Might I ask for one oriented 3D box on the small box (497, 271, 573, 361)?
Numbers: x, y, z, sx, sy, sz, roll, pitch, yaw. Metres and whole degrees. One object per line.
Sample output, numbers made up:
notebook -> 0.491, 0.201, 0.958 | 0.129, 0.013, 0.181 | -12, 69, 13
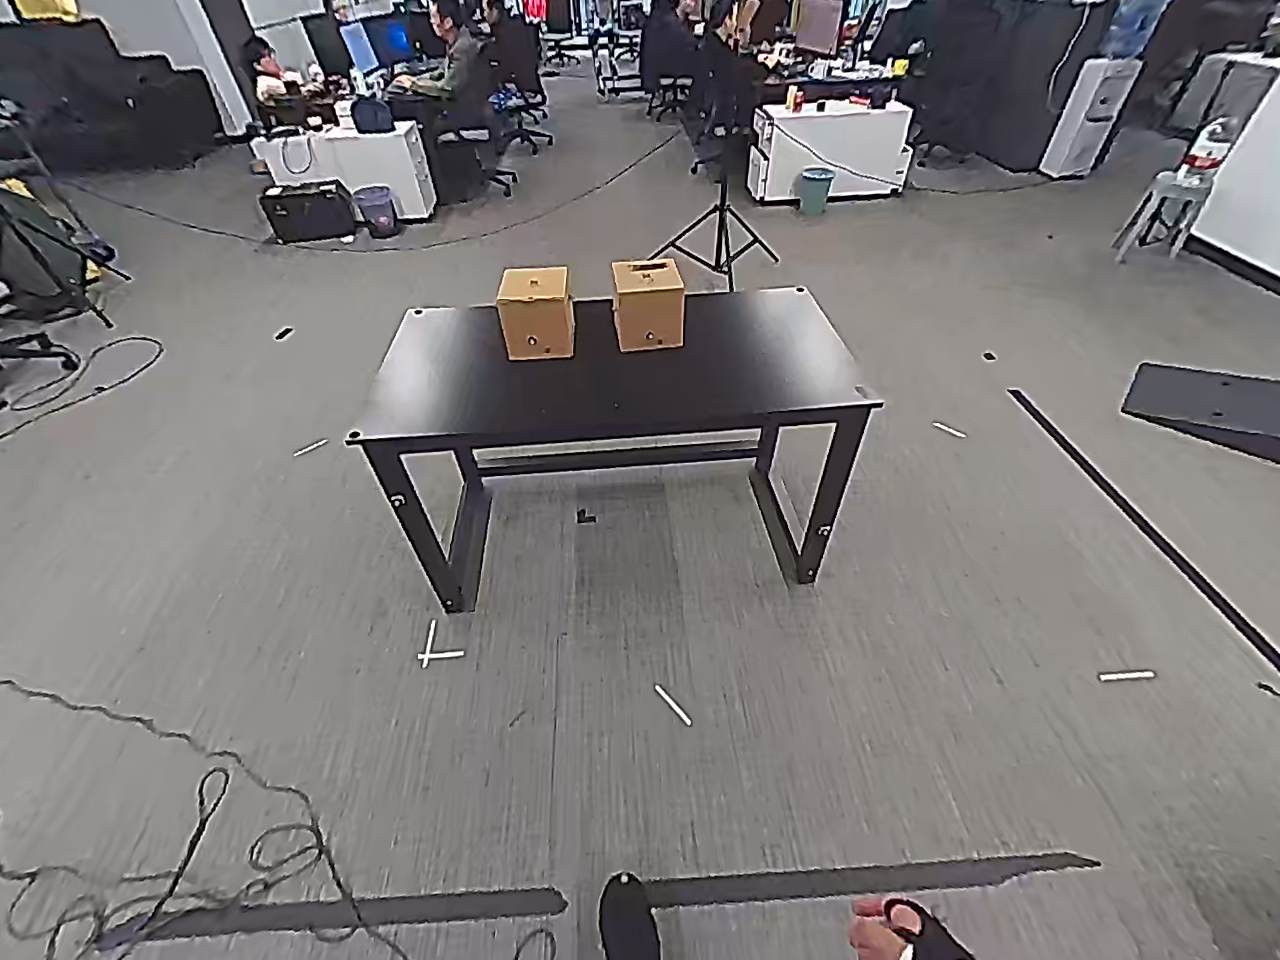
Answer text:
small box -> -0.268, -0.429, 1.418 | 0.168, 0.176, 0.179 | -4, 45, -1
